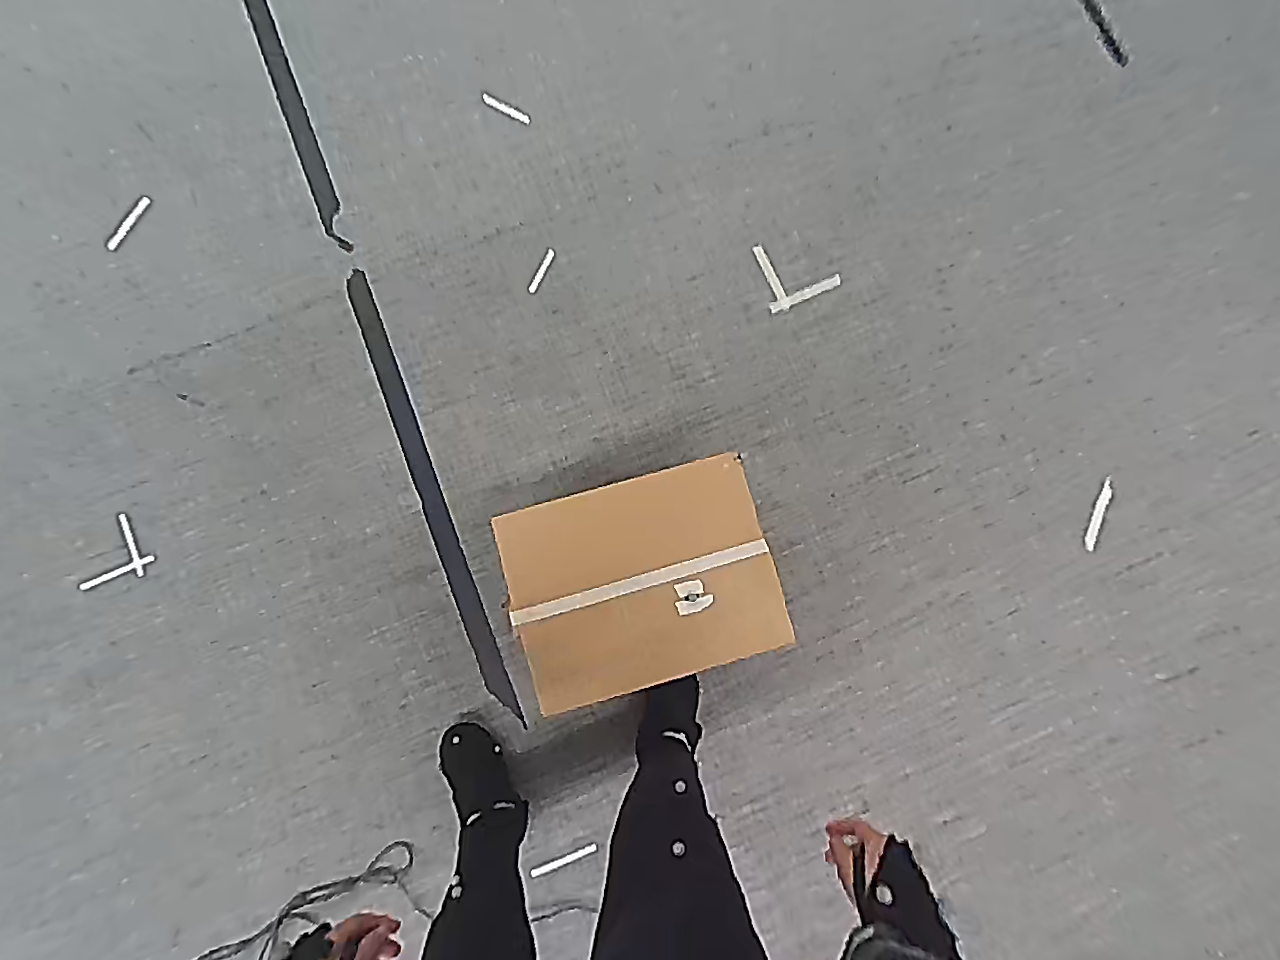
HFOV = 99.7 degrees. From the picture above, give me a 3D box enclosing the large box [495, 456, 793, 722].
[{"bbox_3d":[-0.001,0.181,0.979,0.408,0.320,0.320,-16,84,-4],"label":"large box"}]
